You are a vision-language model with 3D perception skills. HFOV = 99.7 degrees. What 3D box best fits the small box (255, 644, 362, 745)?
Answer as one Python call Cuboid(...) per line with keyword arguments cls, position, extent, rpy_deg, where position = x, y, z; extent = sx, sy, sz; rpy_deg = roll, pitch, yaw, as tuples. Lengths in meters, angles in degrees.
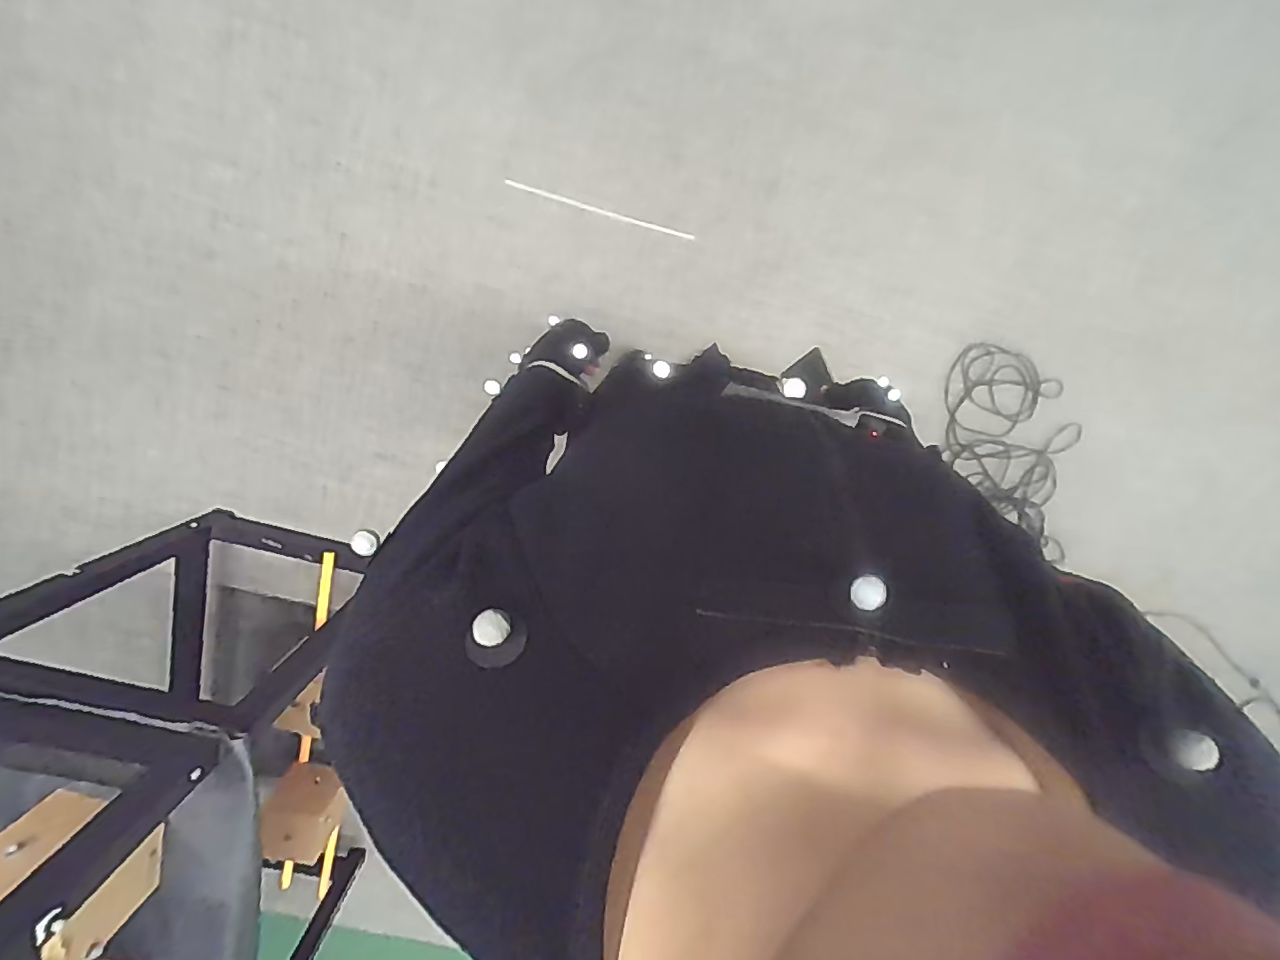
Cuboid(cls="small box", position=(-0.873, 0.563, 1.439), extent=(0.179, 0.176, 0.168), rpy_deg=(18, 103, -6))
